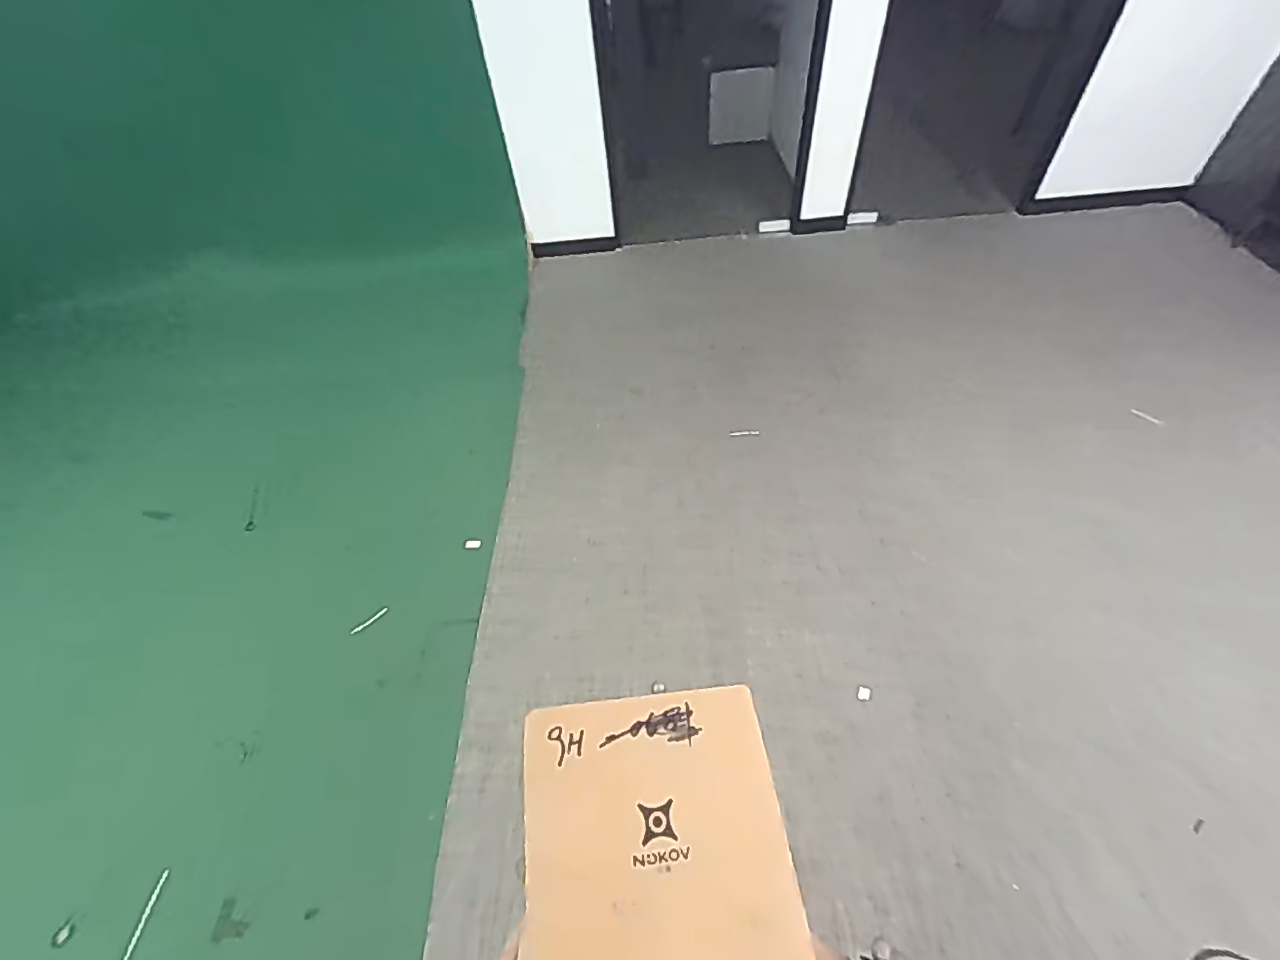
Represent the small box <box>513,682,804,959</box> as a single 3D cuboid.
[{"bbox_3d":[0.000,0.267,0.400,0.168,0.176,0.179,-3,55,-8],"label":"small box"}]
